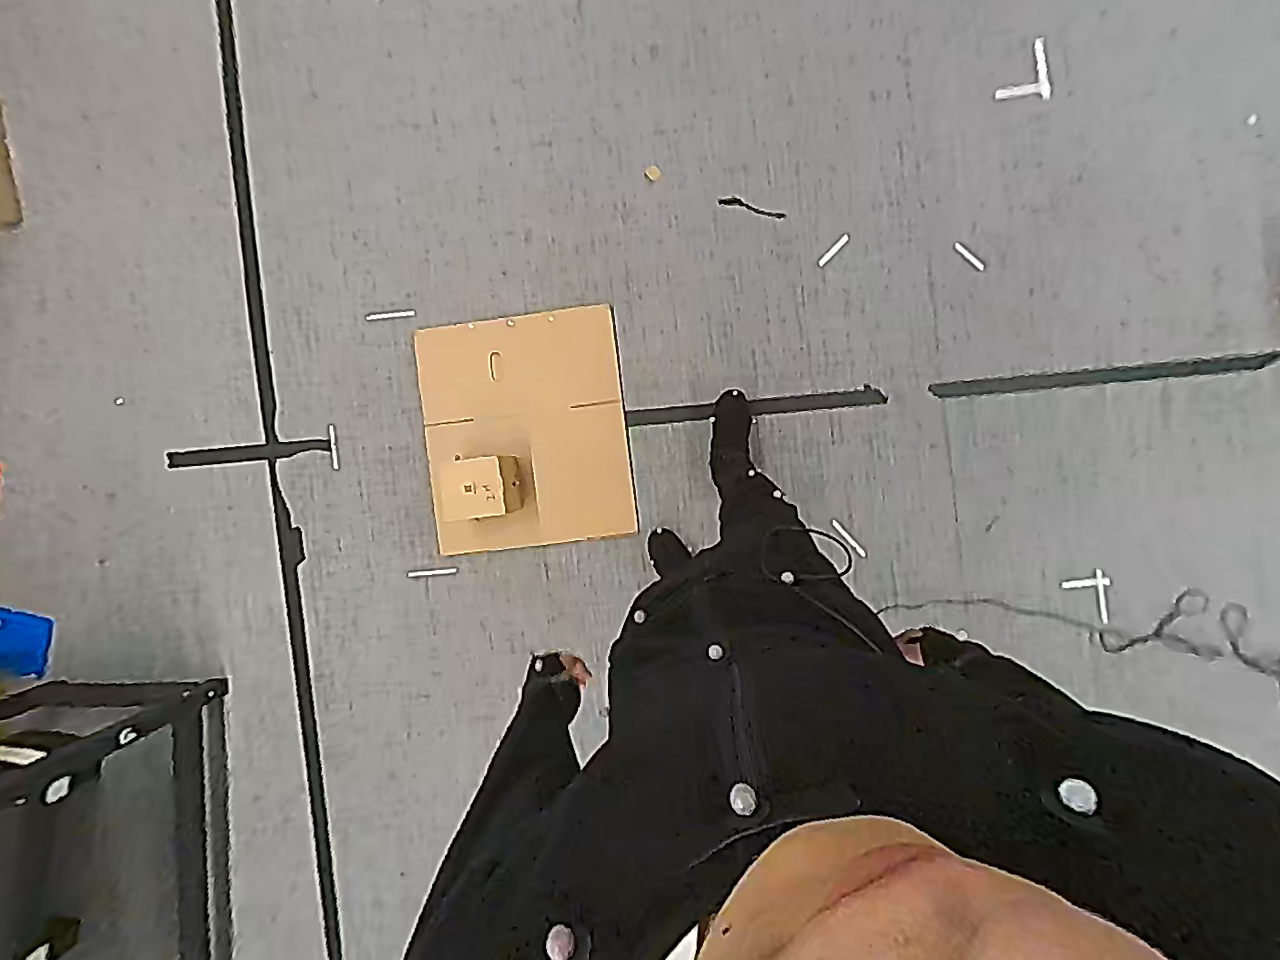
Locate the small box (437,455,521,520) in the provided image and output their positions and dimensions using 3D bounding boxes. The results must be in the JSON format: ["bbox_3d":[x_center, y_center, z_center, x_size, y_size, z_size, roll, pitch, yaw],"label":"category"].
[{"bbox_3d":[-0.458,0.021,1.551,0.179,0.176,0.168,-8,91,2],"label":"small box"}]
